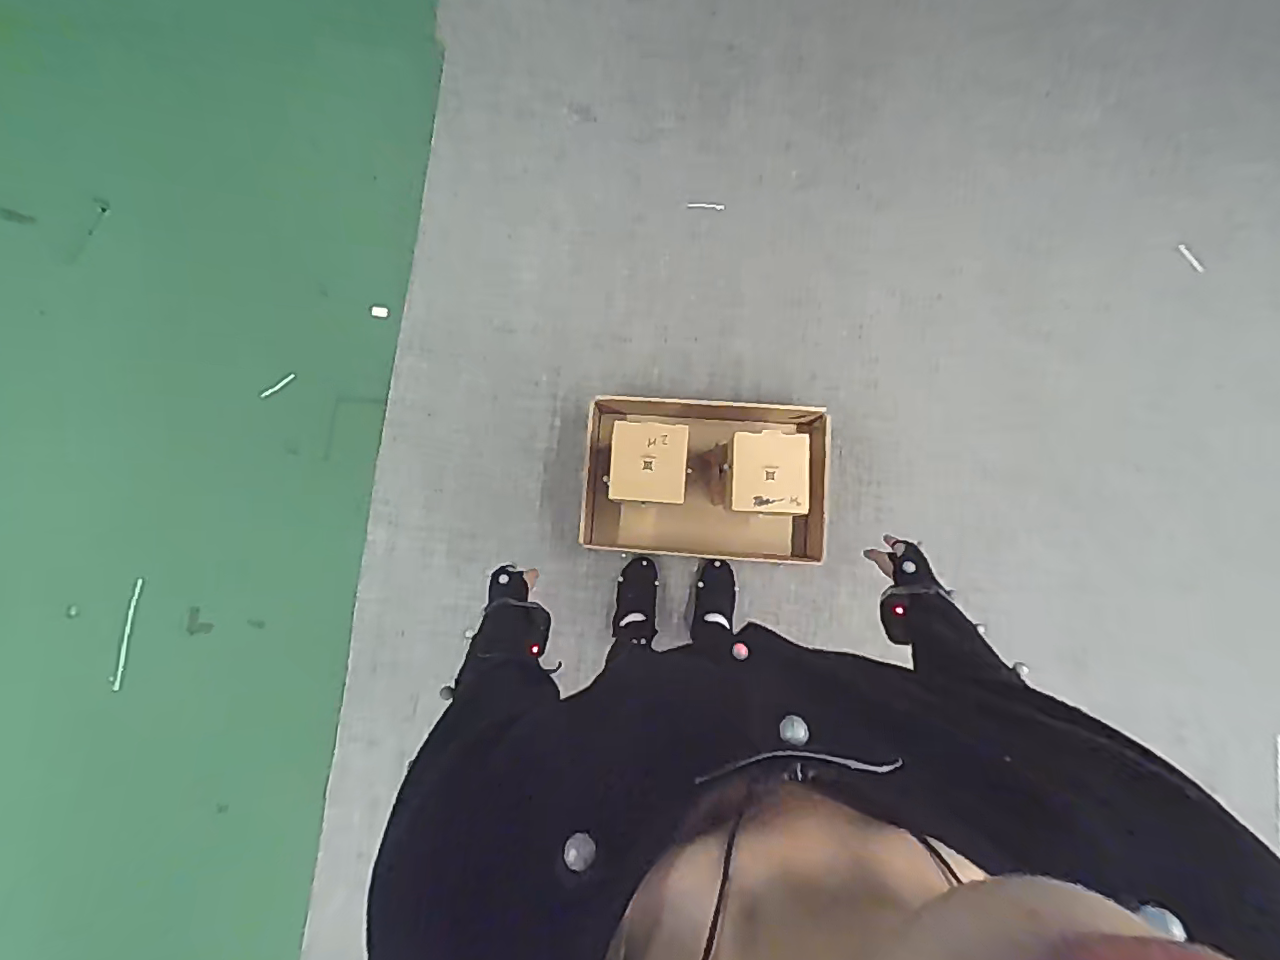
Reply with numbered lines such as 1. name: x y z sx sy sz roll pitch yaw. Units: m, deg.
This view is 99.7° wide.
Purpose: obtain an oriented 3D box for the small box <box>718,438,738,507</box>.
1. small box: 0.295 -0.015 1.405 0.179 0.176 0.168 -1 85 2

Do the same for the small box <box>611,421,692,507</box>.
1. small box: 0.029 -0.031 1.254 0.168 0.176 0.179 5 85 2

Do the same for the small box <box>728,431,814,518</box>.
1. small box: 0.294 -0.007 1.240 0.168 0.176 0.179 3 84 3
